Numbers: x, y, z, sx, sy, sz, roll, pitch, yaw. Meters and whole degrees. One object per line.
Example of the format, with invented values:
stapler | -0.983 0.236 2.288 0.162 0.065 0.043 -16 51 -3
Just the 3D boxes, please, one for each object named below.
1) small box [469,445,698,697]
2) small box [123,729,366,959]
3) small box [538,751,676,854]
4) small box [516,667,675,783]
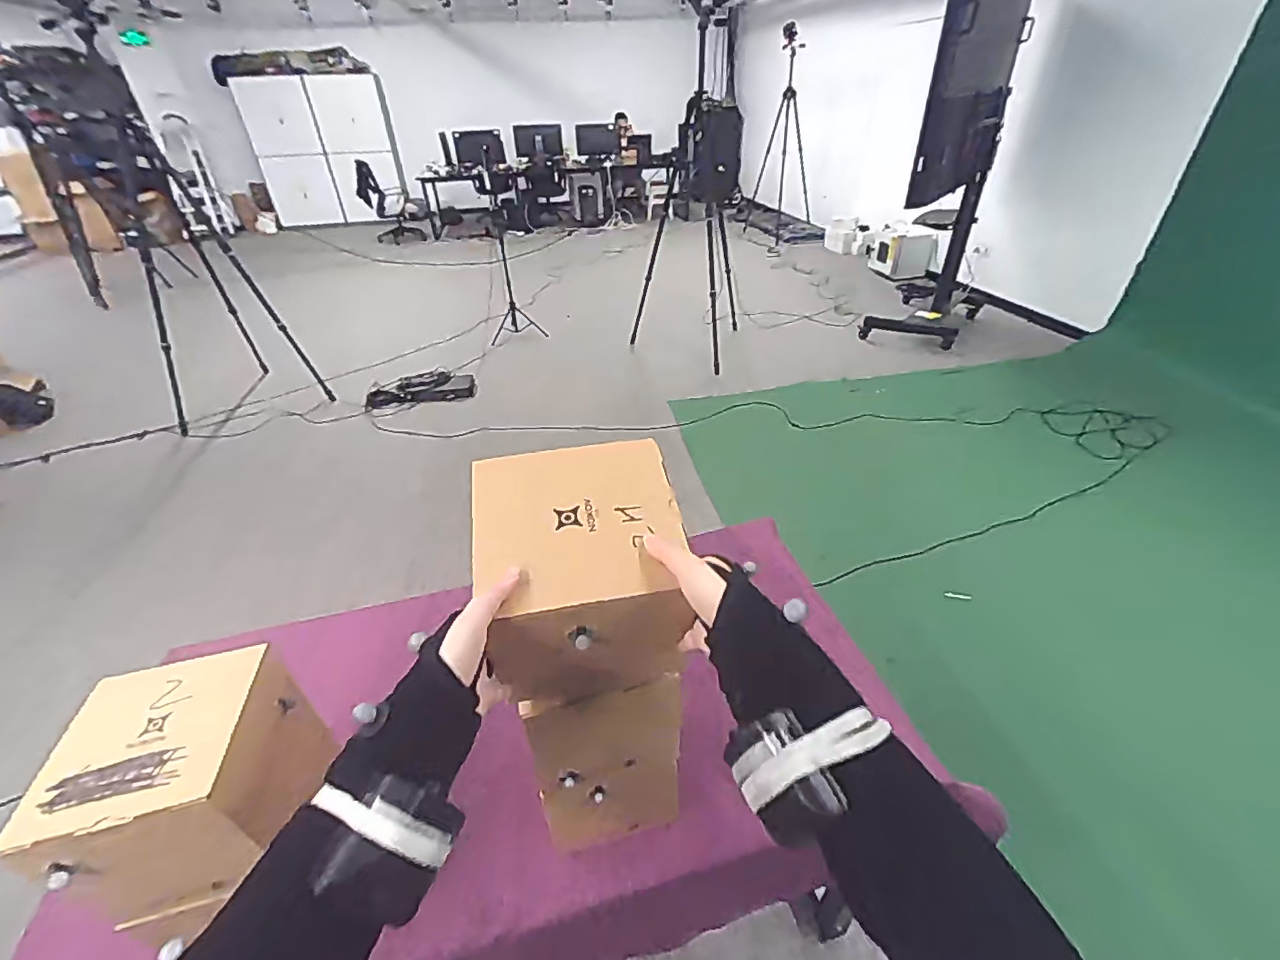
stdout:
small box | -0.054 0.090 0.514 0.179 0.176 0.168 -7 51 -8
small box | -0.458 0.449 0.668 0.168 0.176 0.179 -10 37 -10
small box | -0.053 0.370 0.750 0.168 0.176 0.179 -12 36 -10
small box | -0.058 0.236 0.655 0.168 0.176 0.179 -11 36 -11
